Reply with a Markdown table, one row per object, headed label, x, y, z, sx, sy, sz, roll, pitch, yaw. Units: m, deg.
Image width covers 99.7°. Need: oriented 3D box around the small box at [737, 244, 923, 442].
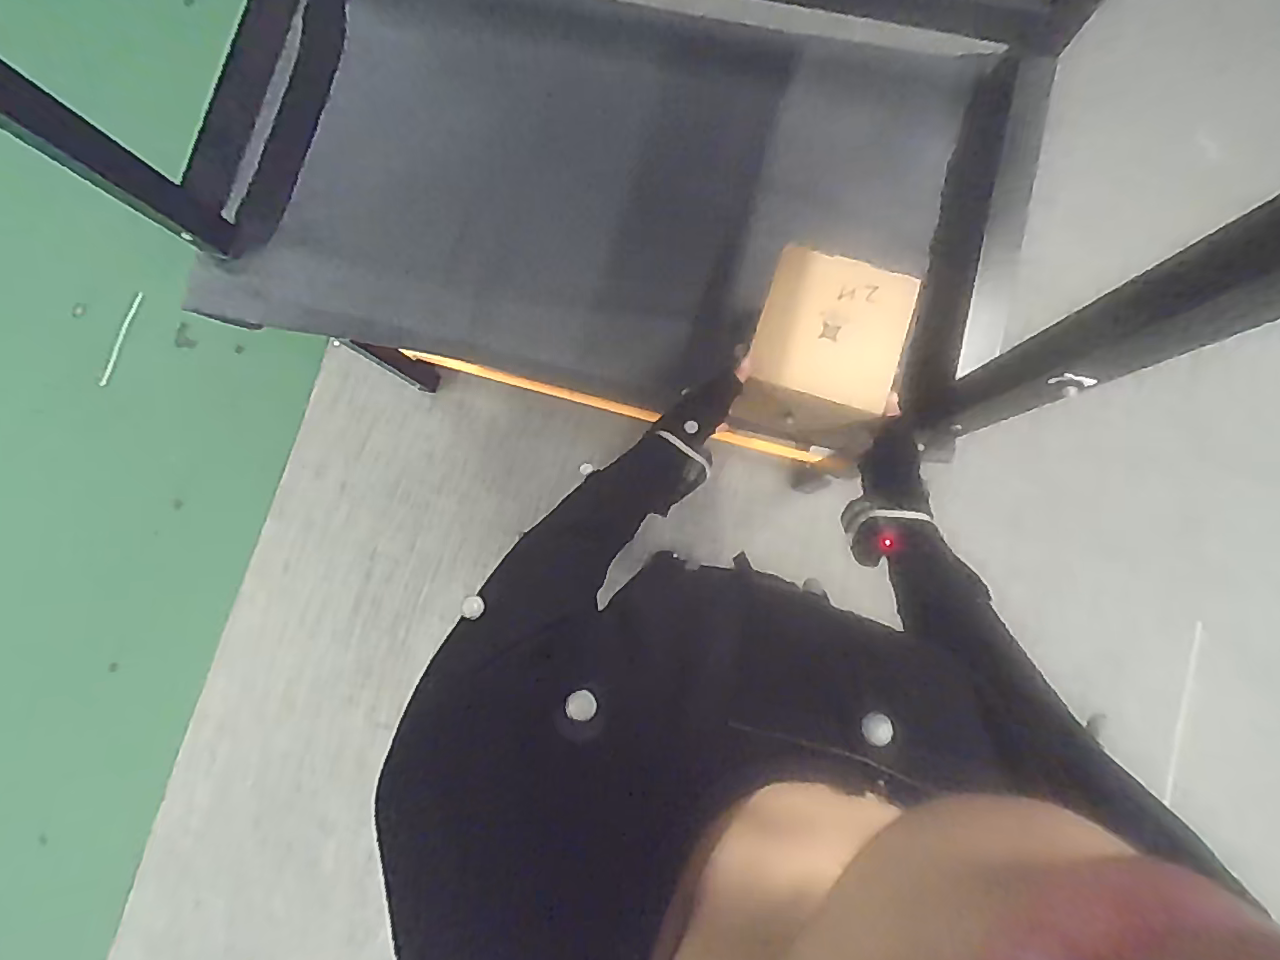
| label | x | y | z | sx | sy | sz | roll | pitch | yaw |
| --- | --- | --- | --- | --- | --- | --- | --- | --- | --- |
| small box | 0.231 | -0.165 | 0.704 | 0.168 | 0.176 | 0.179 | 18 | 82 | 6 |
